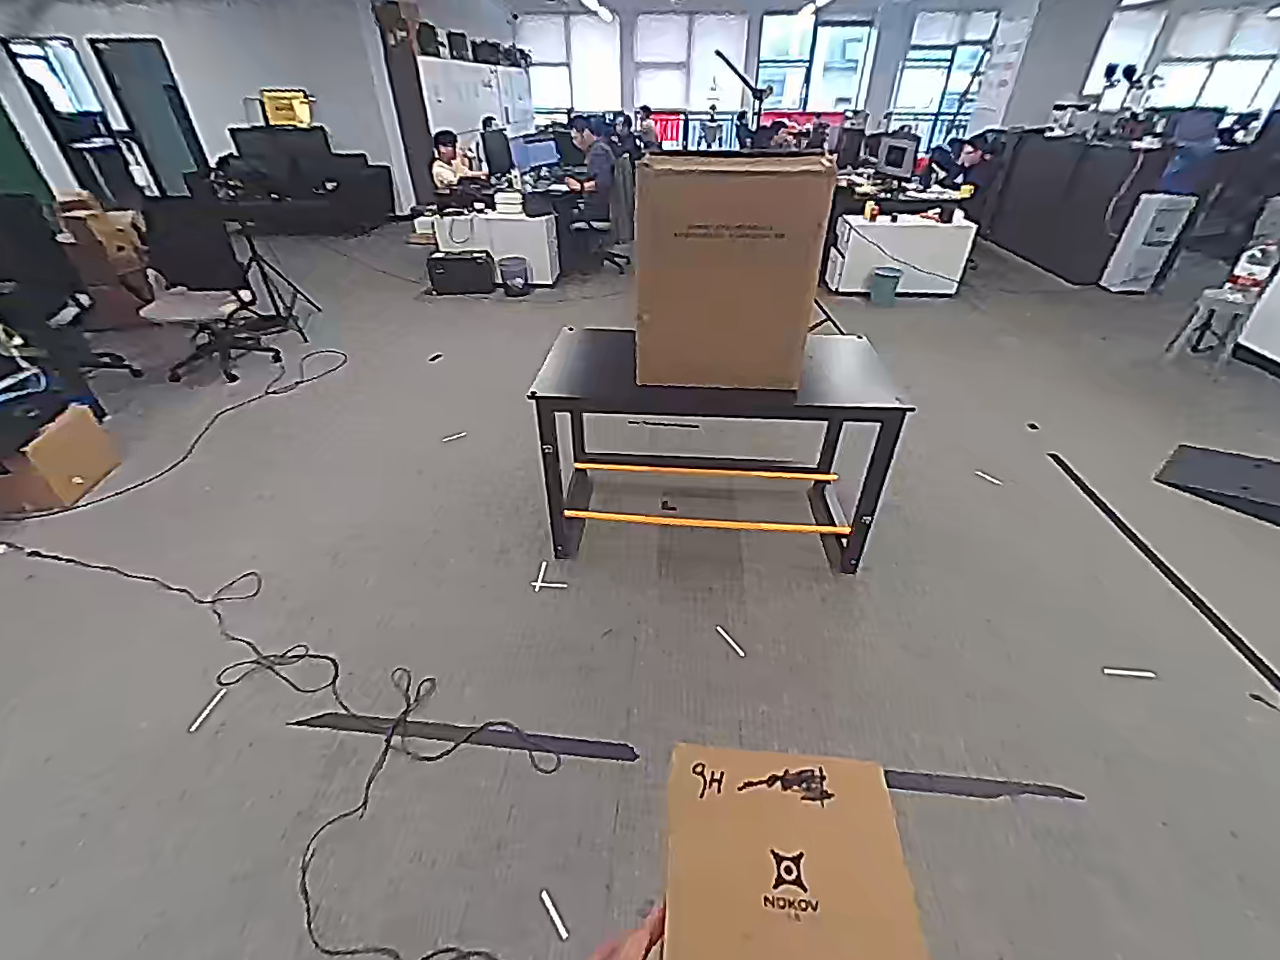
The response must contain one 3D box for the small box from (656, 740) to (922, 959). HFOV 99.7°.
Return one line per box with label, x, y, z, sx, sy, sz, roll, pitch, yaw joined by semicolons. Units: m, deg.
small box;0.099;0.330;0.421;0.168;0.176;0.179;4;43;4
